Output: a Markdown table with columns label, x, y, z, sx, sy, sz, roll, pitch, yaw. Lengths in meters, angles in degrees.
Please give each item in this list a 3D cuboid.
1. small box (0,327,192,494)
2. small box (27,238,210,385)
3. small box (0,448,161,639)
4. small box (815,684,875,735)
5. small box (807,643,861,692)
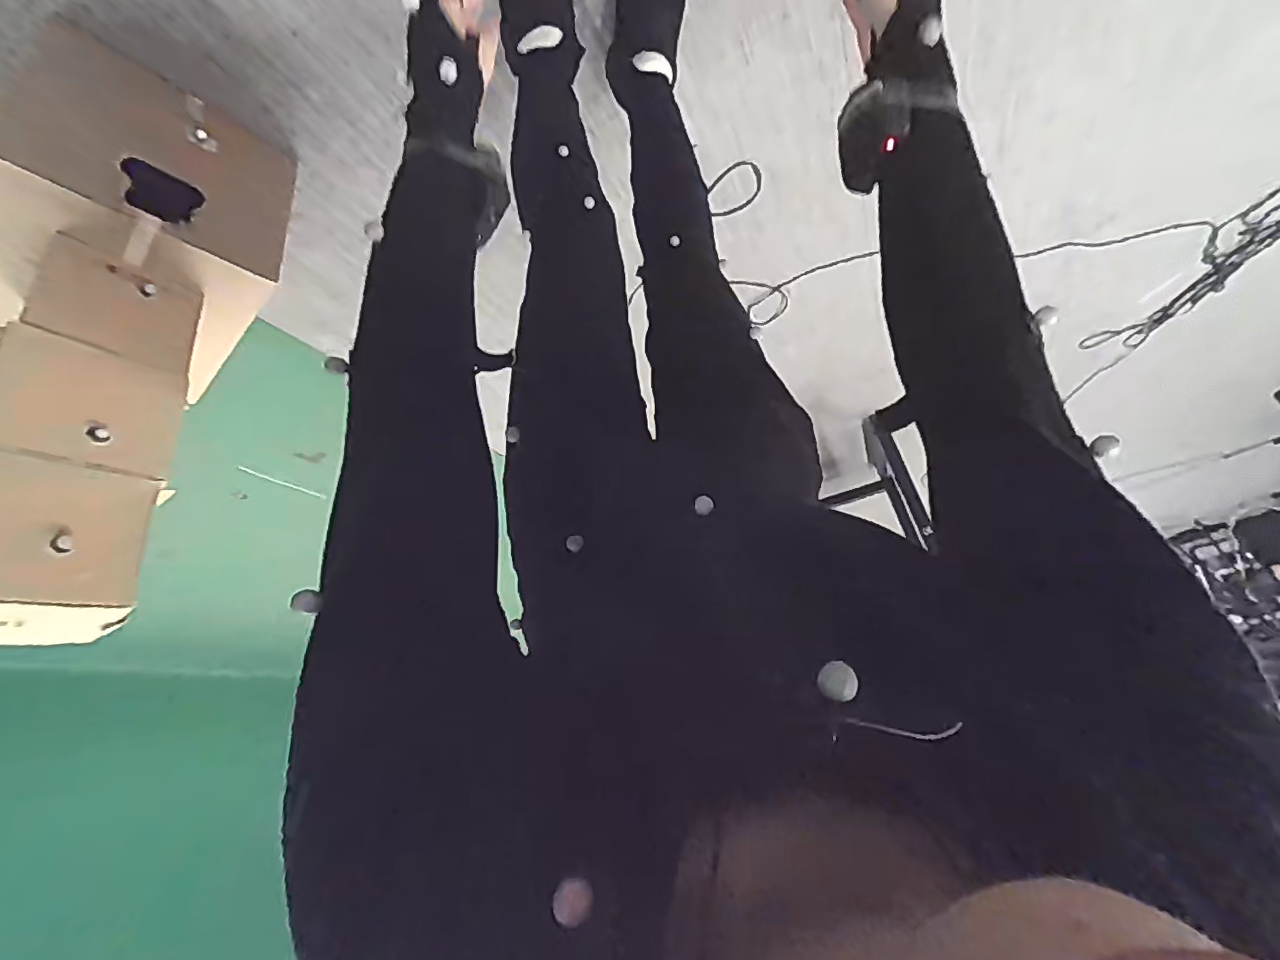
| label | x | y | z | sx | sy | sz | roll | pitch | yaw |
| --- | --- | --- | --- | --- | --- | --- | --- | --- | --- |
| small box | -0.726 | -0.065 | 0.702 | 0.168 | 0.176 | 0.179 | -26 | 151 | 27 |
| small box | -0.760 | -0.203 | 0.784 | 0.179 | 0.176 | 0.168 | -27 | 150 | 28 |
| small box | -0.701 | 0.080 | 0.629 | 0.168 | 0.176 | 0.179 | -27 | 151 | 28 |
| small box | 0.846 | 0.944 | 2.231 | 0.179 | 0.176 | 0.168 | -21 | 150 | 20 |
| small box | 0.825 | 0.803 | 2.306 | 0.168 | 0.176 | 0.179 | -20 | 150 | 18 |
